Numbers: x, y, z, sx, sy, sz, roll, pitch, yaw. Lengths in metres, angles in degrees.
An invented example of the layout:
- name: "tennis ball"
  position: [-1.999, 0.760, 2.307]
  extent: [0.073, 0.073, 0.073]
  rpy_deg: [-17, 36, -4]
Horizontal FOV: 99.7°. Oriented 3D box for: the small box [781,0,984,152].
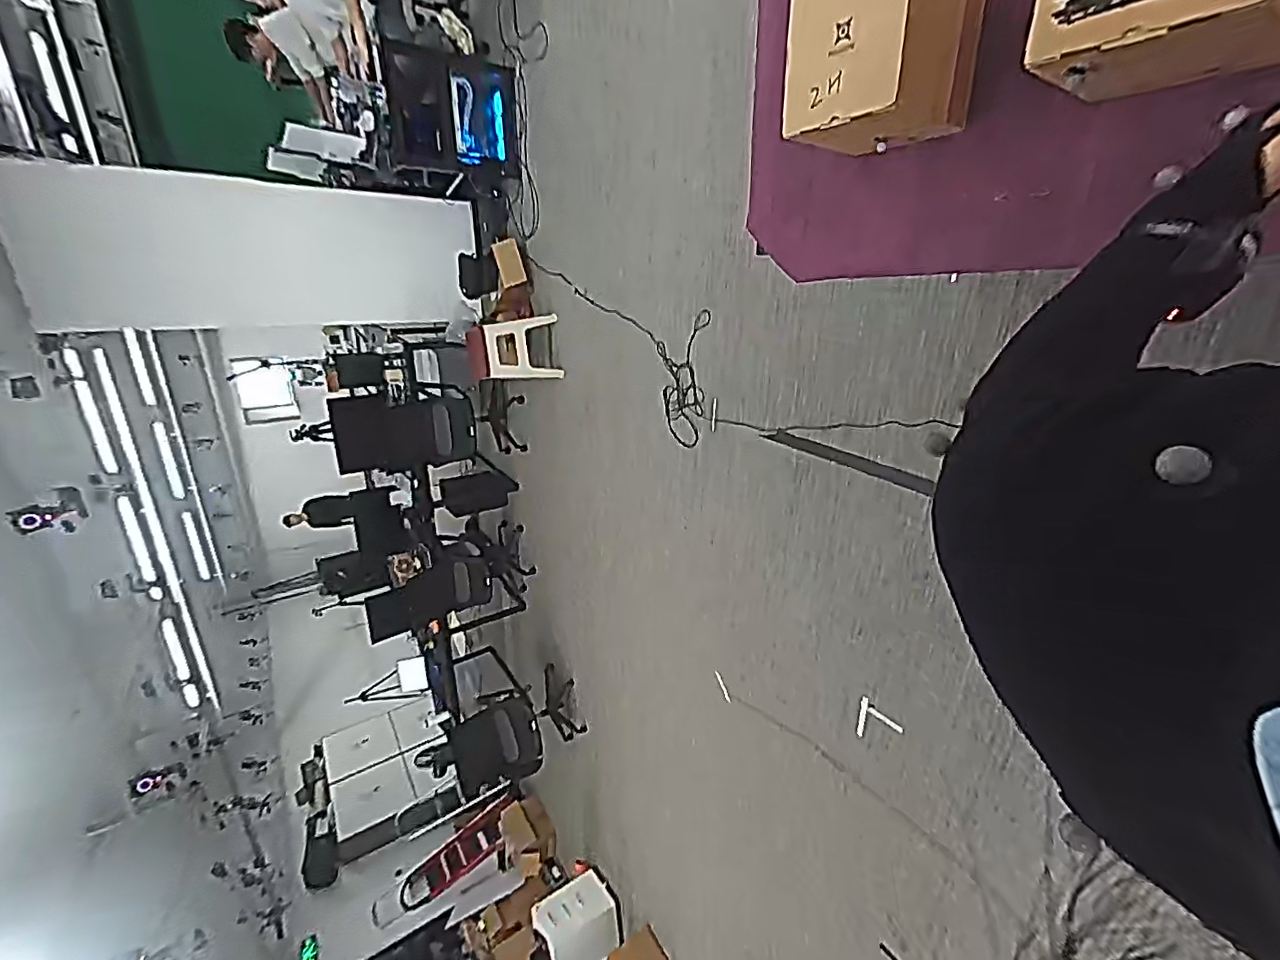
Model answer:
- name: "small box"
  position: [0.303, -0.538, 0.680]
  extent: [0.168, 0.176, 0.179]
  rpy_deg: [24, 121, 50]
